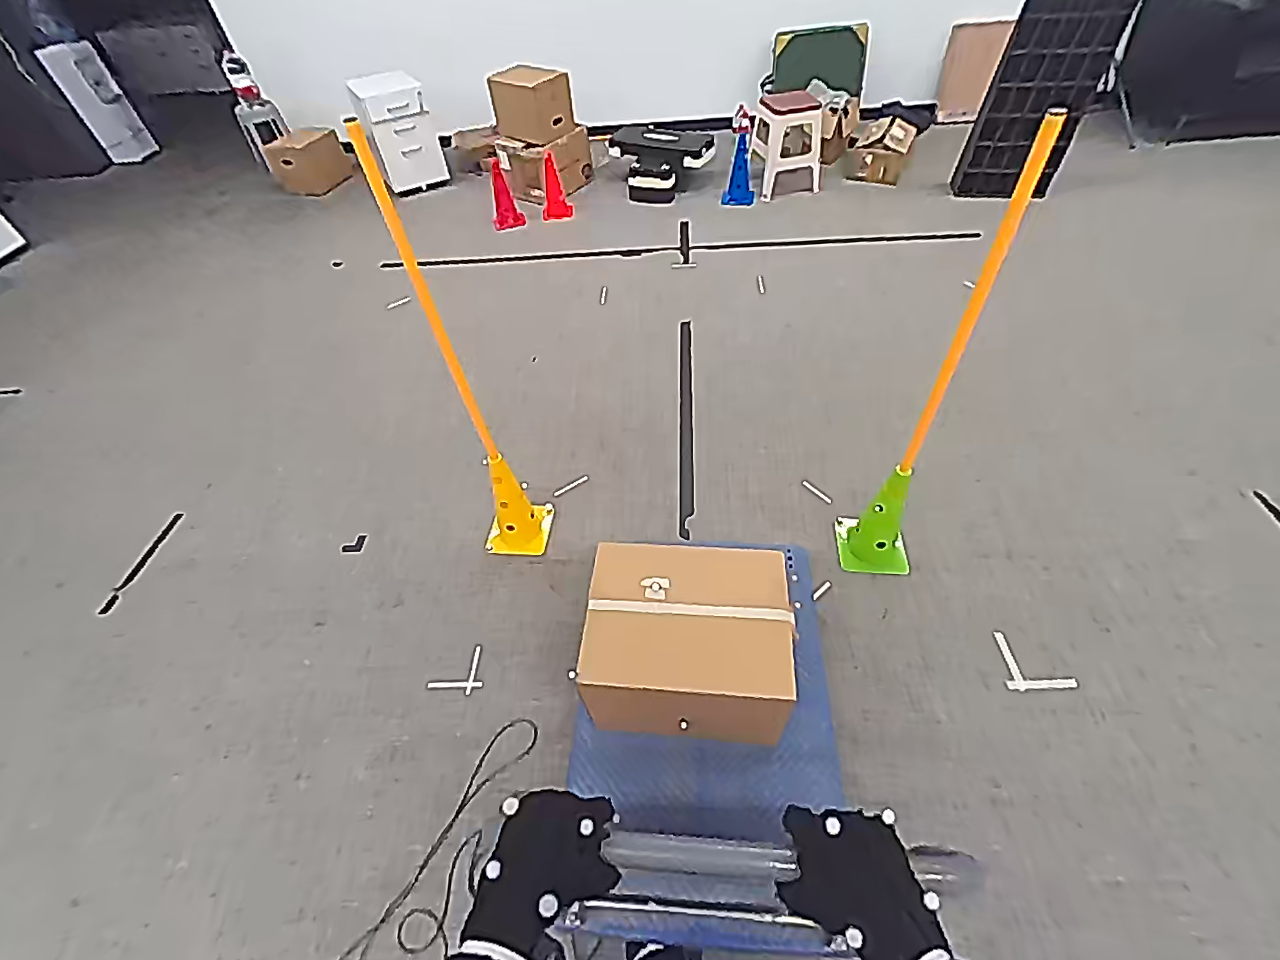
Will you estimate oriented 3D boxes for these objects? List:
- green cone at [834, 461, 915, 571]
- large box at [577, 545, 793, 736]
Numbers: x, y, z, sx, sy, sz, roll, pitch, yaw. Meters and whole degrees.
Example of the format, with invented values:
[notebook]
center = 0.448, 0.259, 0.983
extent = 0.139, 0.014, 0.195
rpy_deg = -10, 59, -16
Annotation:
[green cone]
center = 0.713, 0.084, 1.570
extent = 0.202, 0.368, 0.200
rpy_deg = 3, 50, 6
[large box]
center = 0.104, 0.357, 1.196
extent = 0.408, 0.320, 0.320
rpy_deg = 1, 50, 7
